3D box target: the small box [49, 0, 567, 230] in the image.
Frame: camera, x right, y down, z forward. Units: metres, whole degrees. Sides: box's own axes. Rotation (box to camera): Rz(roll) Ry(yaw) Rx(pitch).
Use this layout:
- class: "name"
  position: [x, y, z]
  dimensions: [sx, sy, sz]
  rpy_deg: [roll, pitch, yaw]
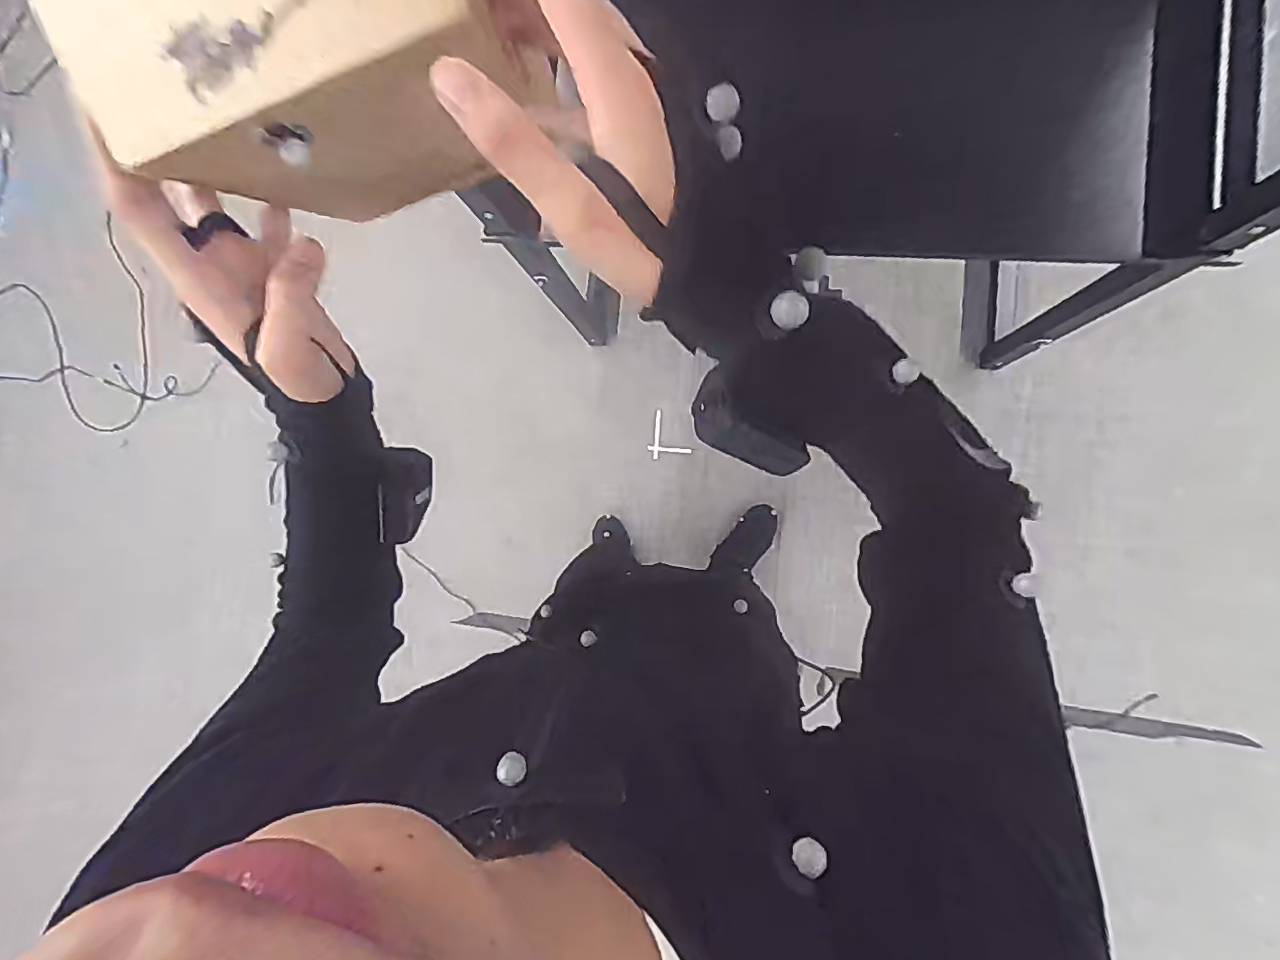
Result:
- class: "small box"
  position: [-0.153, -0.250, 0.274]
  dimensions: [0.168, 0.176, 0.179]
  rpy_deg: [-13, 105, 11]
